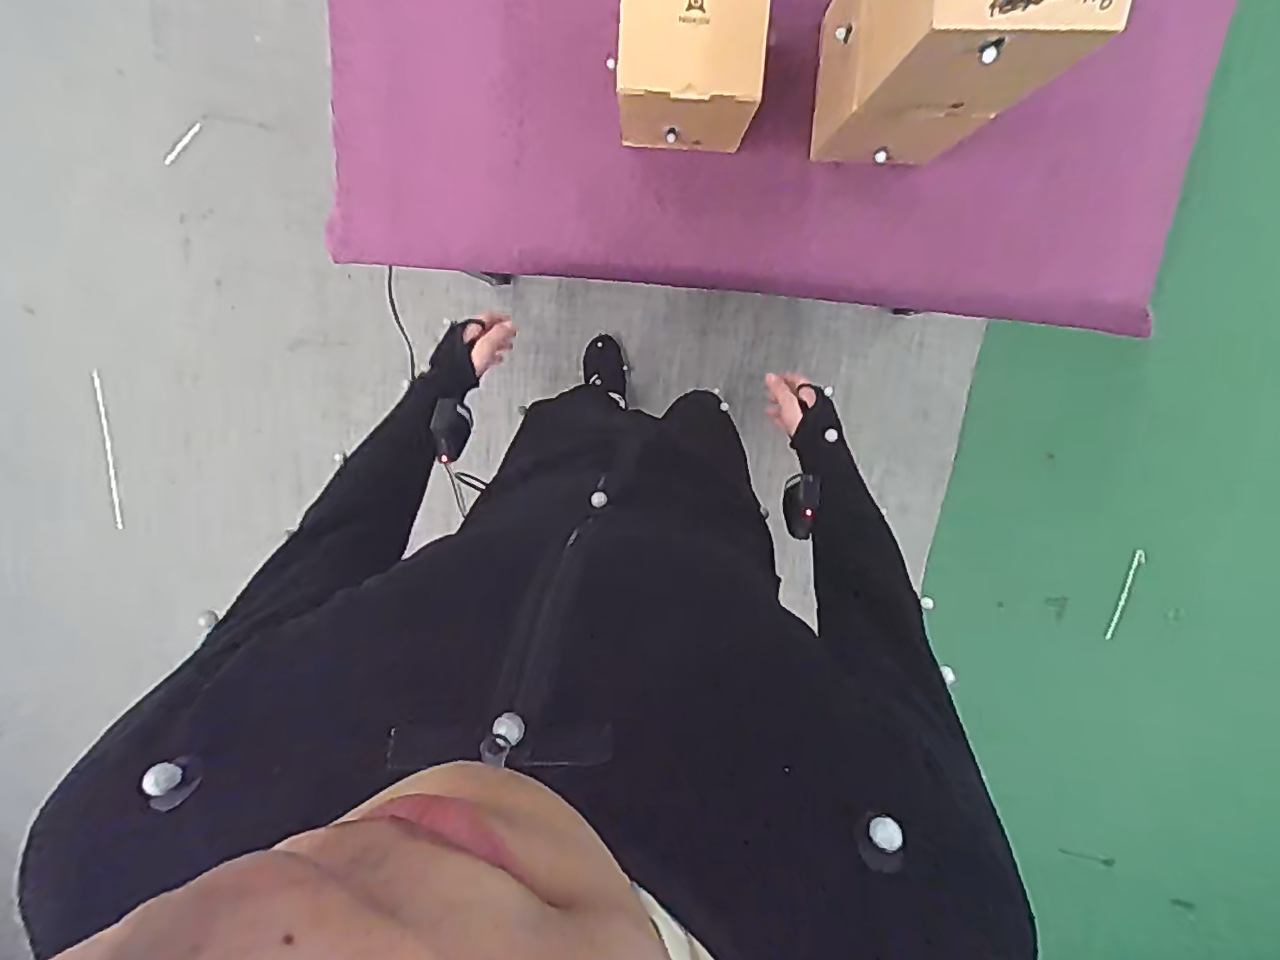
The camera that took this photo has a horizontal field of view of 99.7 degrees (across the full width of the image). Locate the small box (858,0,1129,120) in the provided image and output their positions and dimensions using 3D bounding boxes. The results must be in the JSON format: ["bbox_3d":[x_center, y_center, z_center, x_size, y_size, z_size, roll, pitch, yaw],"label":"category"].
[{"bbox_3d":[0.323,-0.477,0.512,0.168,0.176,0.179,0,103,0],"label":"small box"}]

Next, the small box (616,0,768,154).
[{"bbox_3d":[0.056,-0.532,0.667,0.168,0.176,0.179,2,104,-1],"label":"small box"}]

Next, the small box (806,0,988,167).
[{"bbox_3d":[0.319,-0.516,0.672,0.168,0.176,0.179,2,105,-1],"label":"small box"}]
